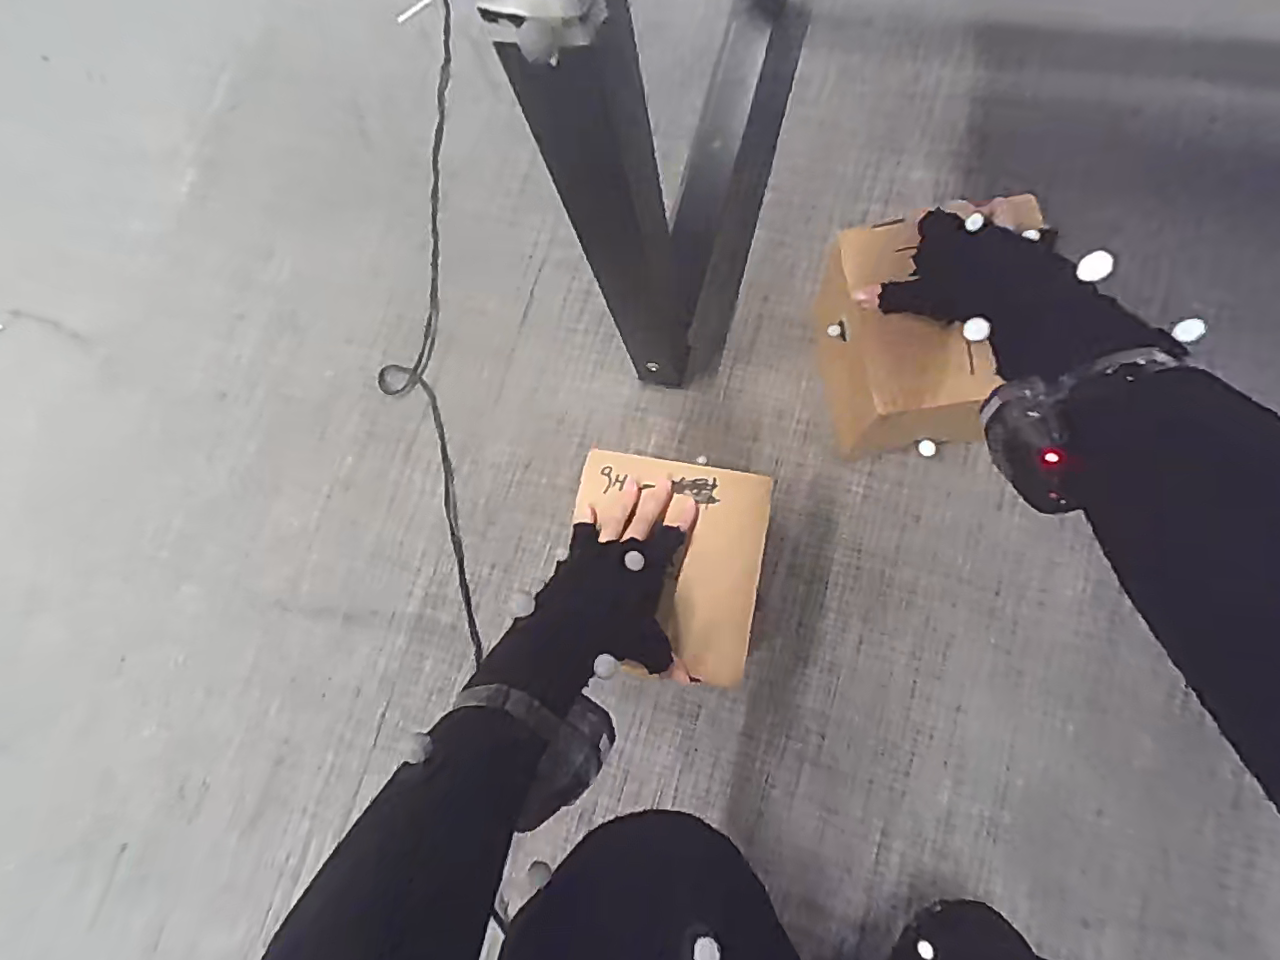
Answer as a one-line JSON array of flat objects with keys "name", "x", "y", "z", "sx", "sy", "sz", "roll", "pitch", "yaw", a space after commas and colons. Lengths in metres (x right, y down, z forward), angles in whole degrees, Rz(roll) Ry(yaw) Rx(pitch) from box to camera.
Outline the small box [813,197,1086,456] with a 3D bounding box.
[{"name": "small box", "x": 0.278, "y": -0.136, "z": 0.535, "sx": 0.168, "sy": 0.176, "sz": 0.179, "roll": -8, "pitch": 78, "yaw": 7}]
